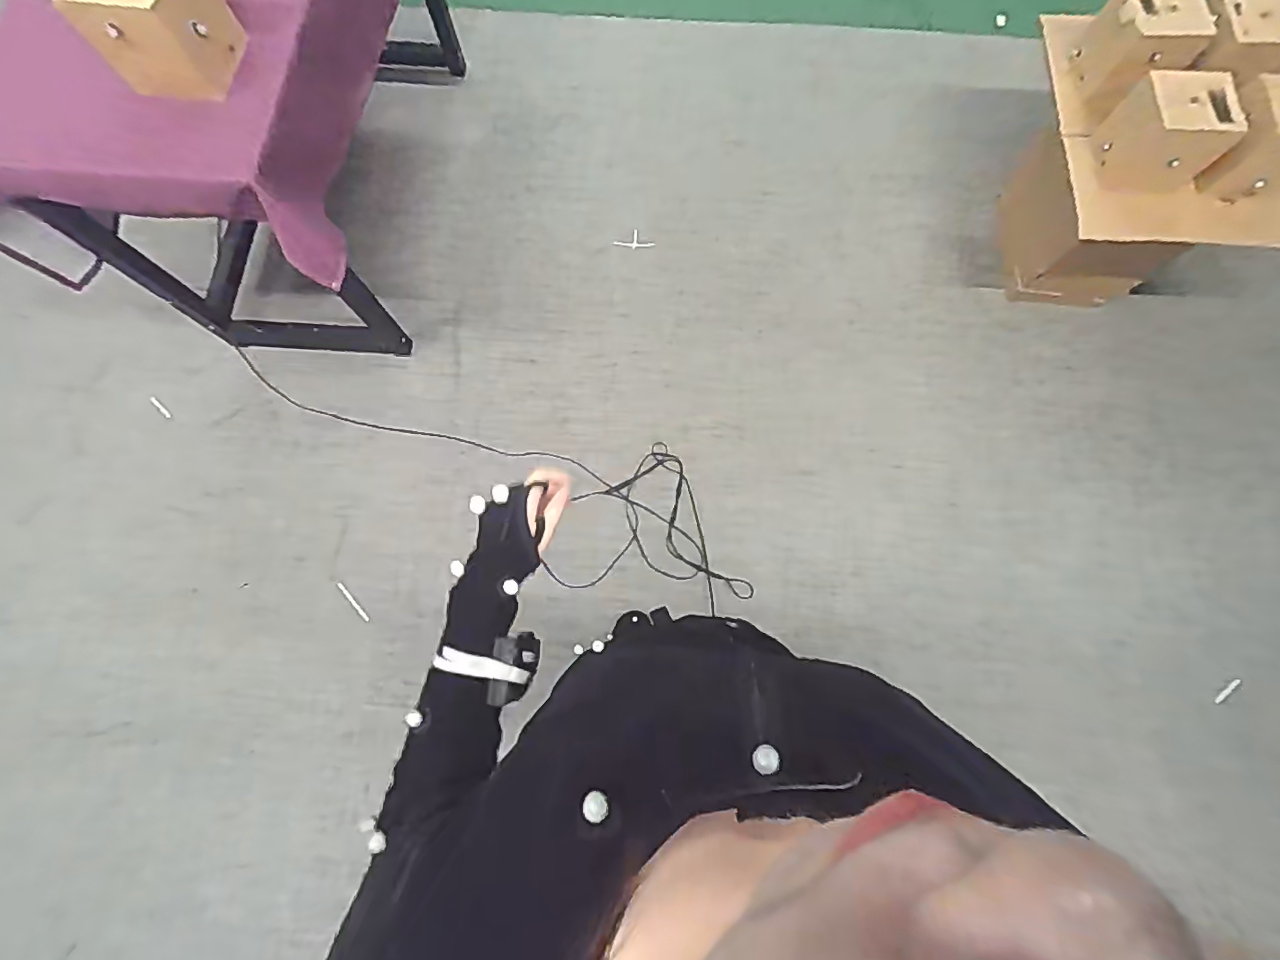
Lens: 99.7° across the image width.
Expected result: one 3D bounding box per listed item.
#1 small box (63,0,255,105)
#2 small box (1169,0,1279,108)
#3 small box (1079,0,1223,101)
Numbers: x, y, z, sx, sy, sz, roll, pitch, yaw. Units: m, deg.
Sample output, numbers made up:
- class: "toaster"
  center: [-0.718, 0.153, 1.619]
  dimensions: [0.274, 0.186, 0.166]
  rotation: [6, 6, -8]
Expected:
- class: "small box"
  center: [-0.858, -0.825, 0.987]
  dimensions: [0.179, 0.176, 0.168]
  rotation: [7, 76, 4]
- class: "small box"
  center: [1.404, -1.013, 1.272]
  dimensions: [0.179, 0.176, 0.168]
  rotation: [2, 74, -1]
- class: "small box"
  center: [1.190, -1.035, 1.280]
  dimensions: [0.179, 0.176, 0.168]
  rotation: [-1, 76, 0]
